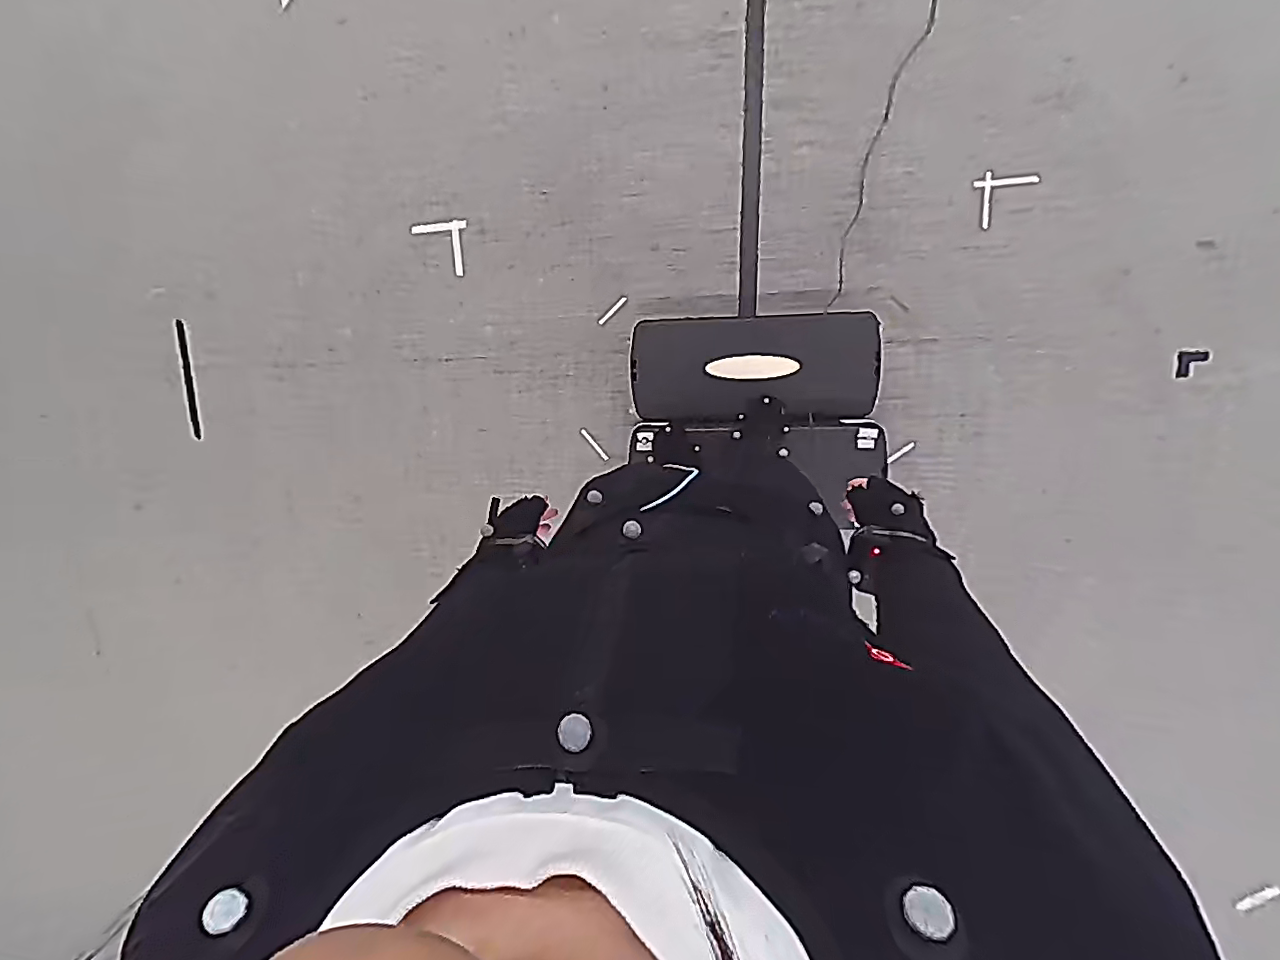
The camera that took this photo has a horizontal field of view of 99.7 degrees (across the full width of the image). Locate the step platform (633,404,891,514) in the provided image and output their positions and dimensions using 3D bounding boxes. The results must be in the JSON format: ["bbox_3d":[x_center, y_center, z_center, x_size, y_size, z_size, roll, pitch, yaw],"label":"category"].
[{"bbox_3d":[0.319,-0.057,1.496,0.684,0.204,0.286,-1,98,9],"label":"step platform"}]
